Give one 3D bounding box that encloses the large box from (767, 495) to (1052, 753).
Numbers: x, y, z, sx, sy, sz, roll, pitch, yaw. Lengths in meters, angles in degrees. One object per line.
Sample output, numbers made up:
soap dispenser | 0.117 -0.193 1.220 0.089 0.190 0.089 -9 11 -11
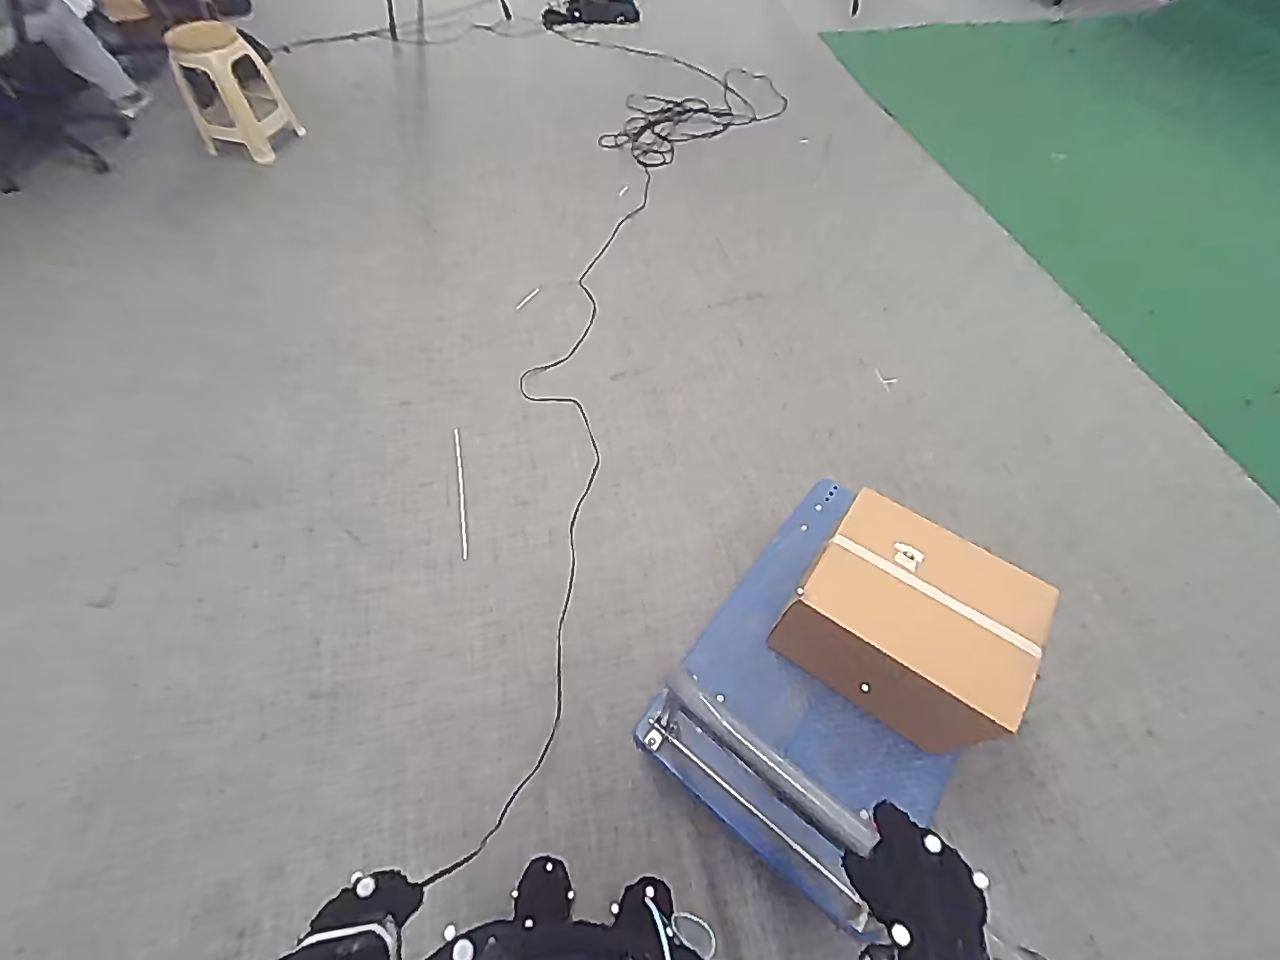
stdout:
large box | 0.540 0.308 1.145 0.408 0.320 0.320 31 62 18
